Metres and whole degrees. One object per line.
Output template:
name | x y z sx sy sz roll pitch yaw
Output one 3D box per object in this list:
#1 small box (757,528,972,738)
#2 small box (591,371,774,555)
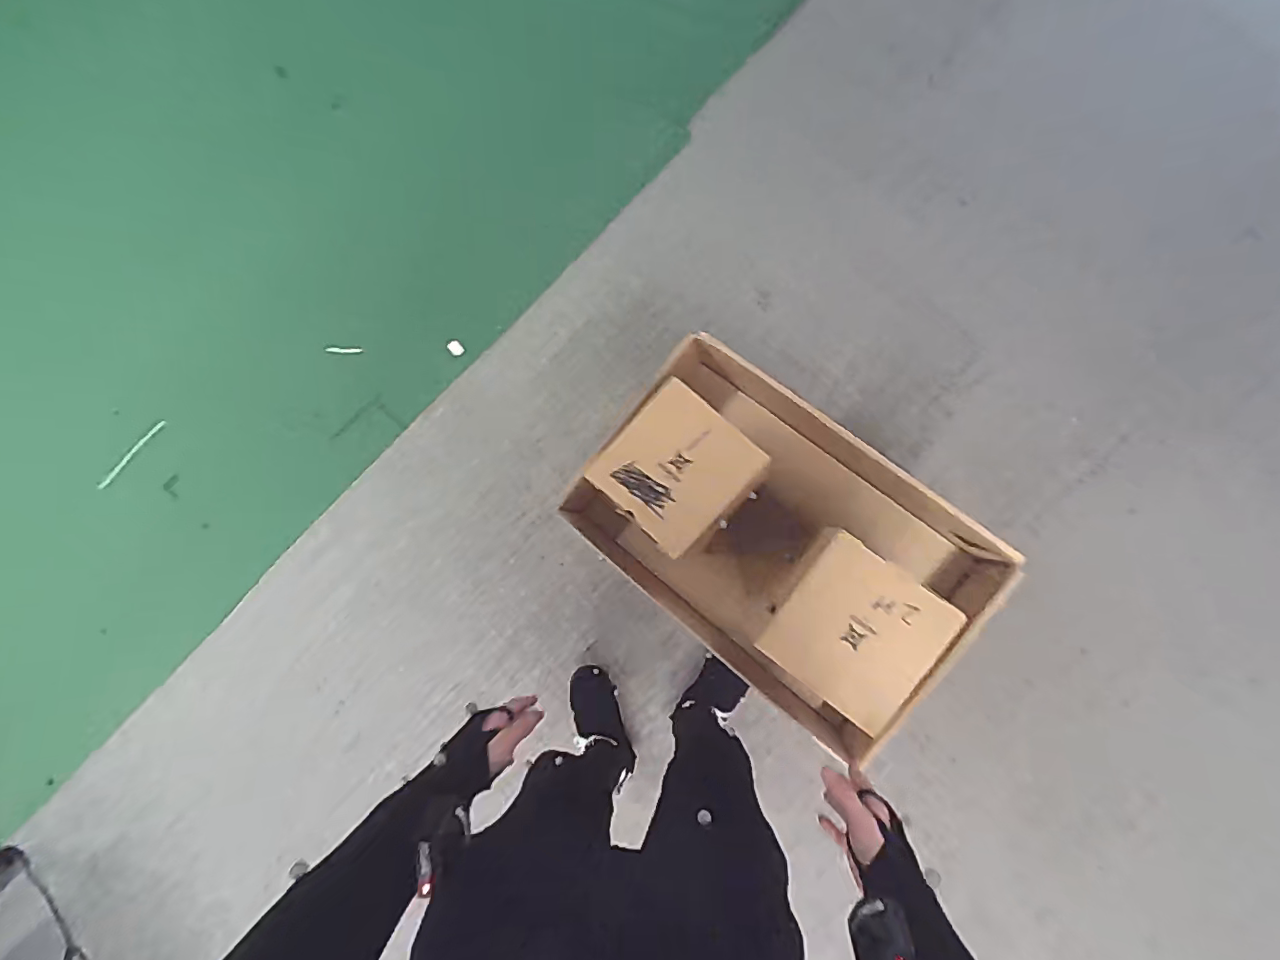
small box | 0.266 0.179 0.687 0.168 0.176 0.179 38 92 11
small box | 0.065 -0.013 0.749 0.168 0.176 0.179 44 92 12
